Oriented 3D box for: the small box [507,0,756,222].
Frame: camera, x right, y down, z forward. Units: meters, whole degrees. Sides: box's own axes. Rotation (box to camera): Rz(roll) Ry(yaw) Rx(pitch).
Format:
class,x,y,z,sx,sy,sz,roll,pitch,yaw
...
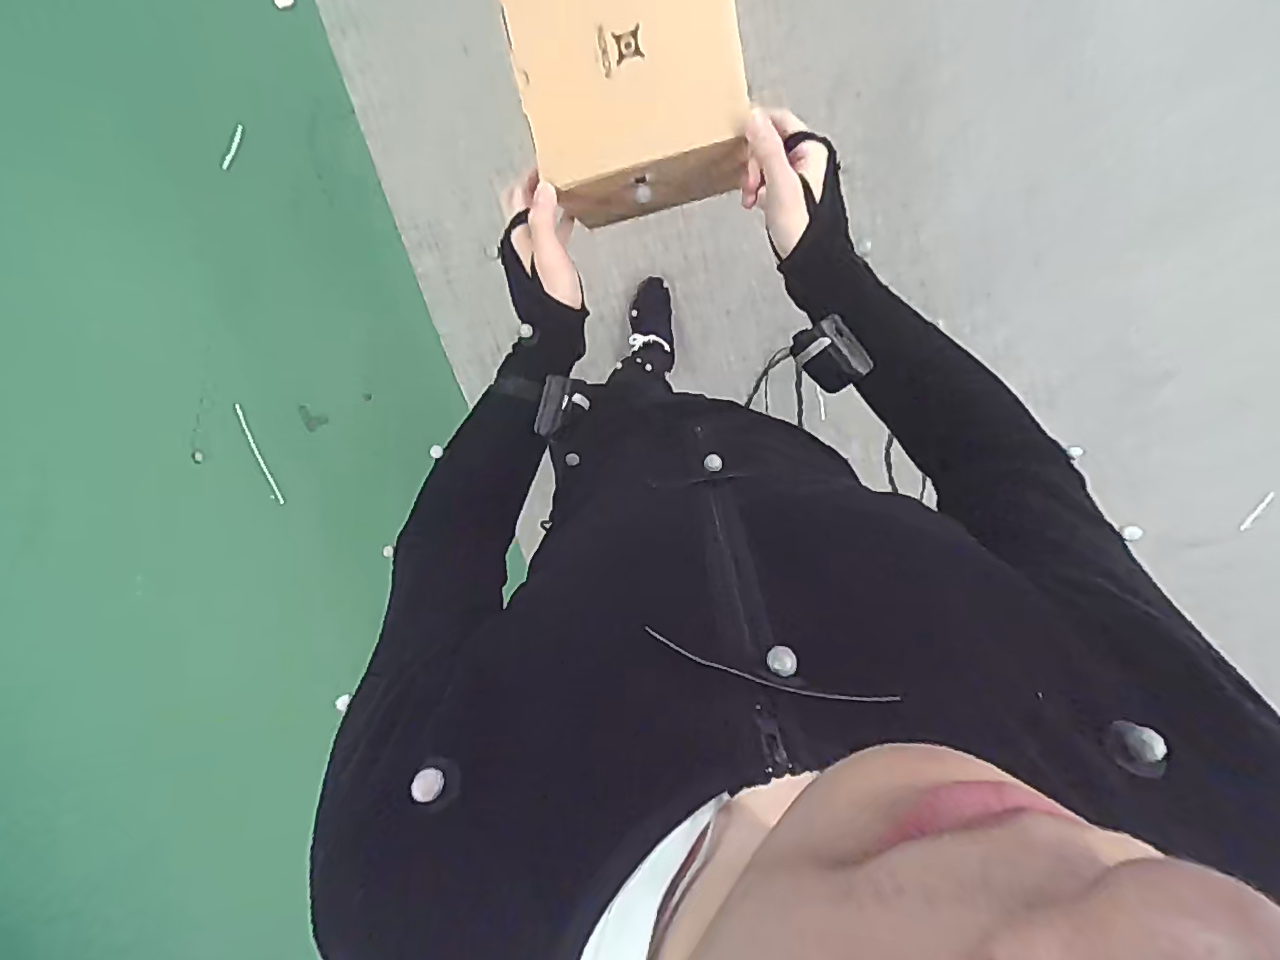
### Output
class,x,y,z,sx,sy,sz,roll,pitch,yaw
small box,0.002,-0.356,0.495,0.179,0.176,0.168,-10,102,11
